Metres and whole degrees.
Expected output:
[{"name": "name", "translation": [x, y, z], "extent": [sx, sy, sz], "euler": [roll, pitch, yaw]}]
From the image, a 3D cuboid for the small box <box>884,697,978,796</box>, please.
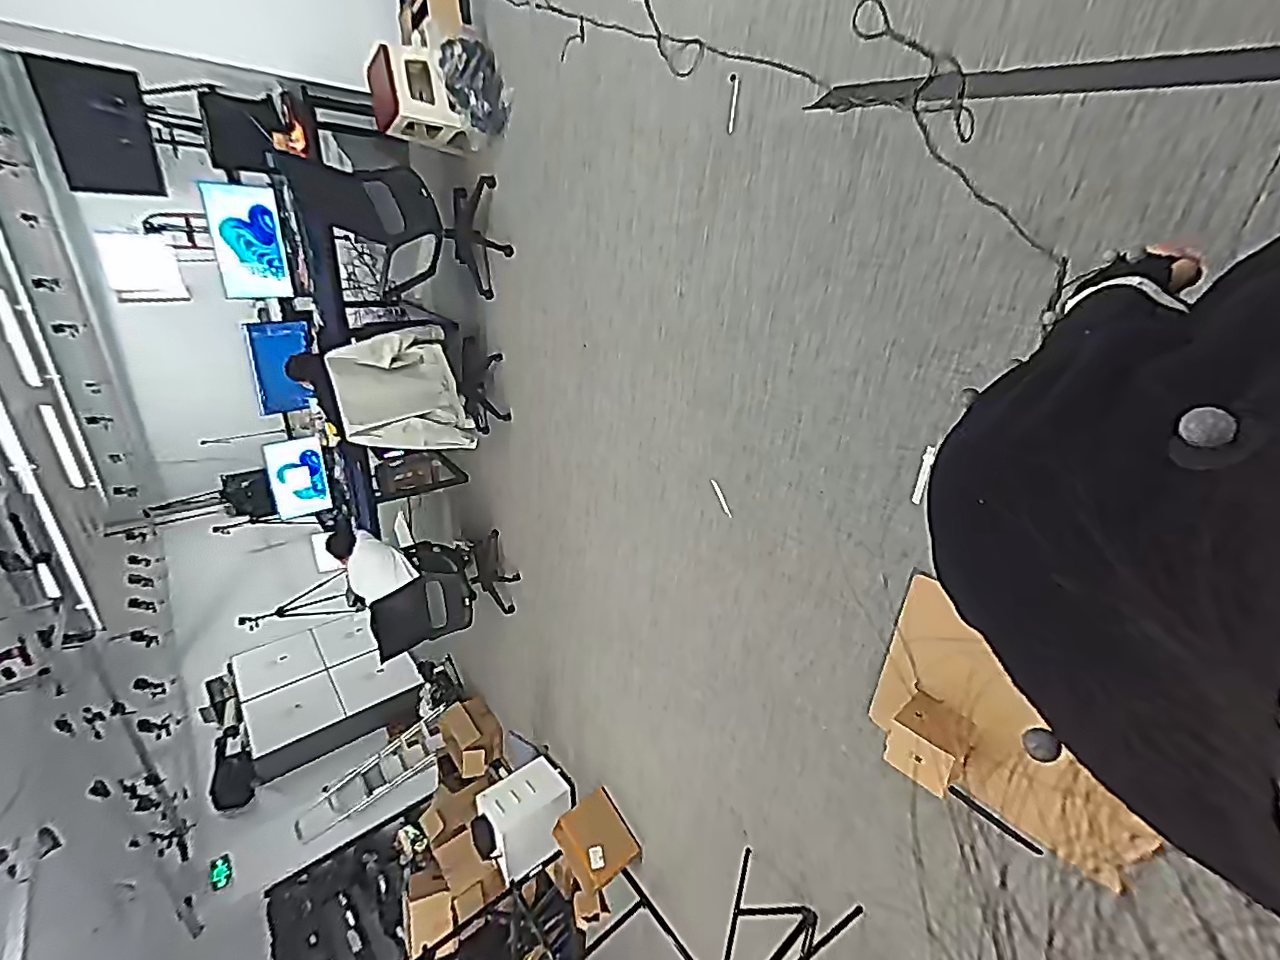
[{"name": "small box", "translation": [0.856, 0.772, 1.594], "extent": [0.179, 0.176, 0.168], "euler": [23, 122, 44]}]
